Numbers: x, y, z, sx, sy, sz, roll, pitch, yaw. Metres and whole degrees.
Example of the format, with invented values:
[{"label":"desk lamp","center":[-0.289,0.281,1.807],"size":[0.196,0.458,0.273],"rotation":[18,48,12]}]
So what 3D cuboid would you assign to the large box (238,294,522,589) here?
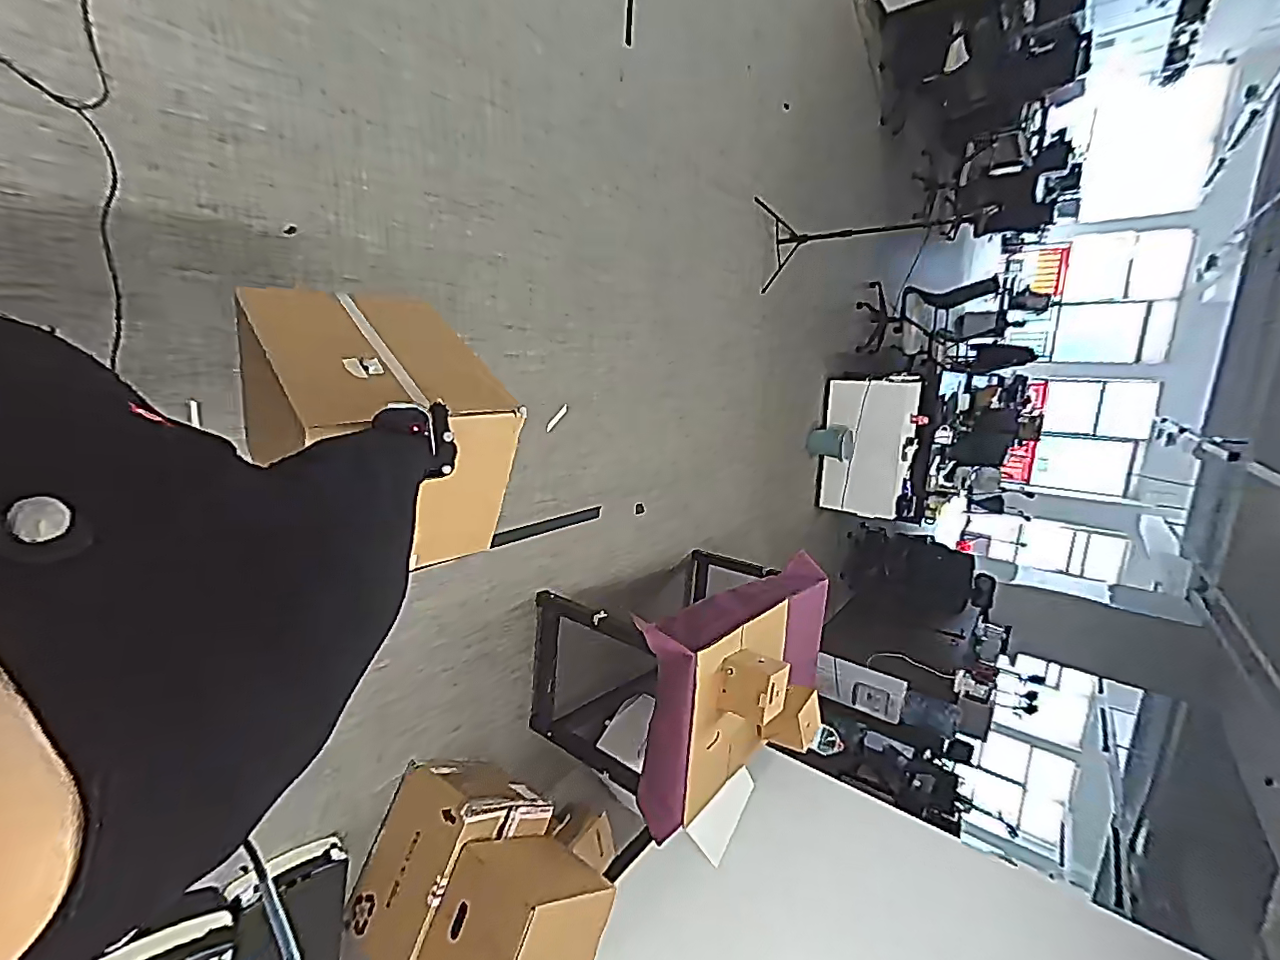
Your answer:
[{"label":"large box","center":[-0.473,-0.085,0.958],"size":[0.320,0.408,0.320],"rotation":[-13,137,-42]}]
